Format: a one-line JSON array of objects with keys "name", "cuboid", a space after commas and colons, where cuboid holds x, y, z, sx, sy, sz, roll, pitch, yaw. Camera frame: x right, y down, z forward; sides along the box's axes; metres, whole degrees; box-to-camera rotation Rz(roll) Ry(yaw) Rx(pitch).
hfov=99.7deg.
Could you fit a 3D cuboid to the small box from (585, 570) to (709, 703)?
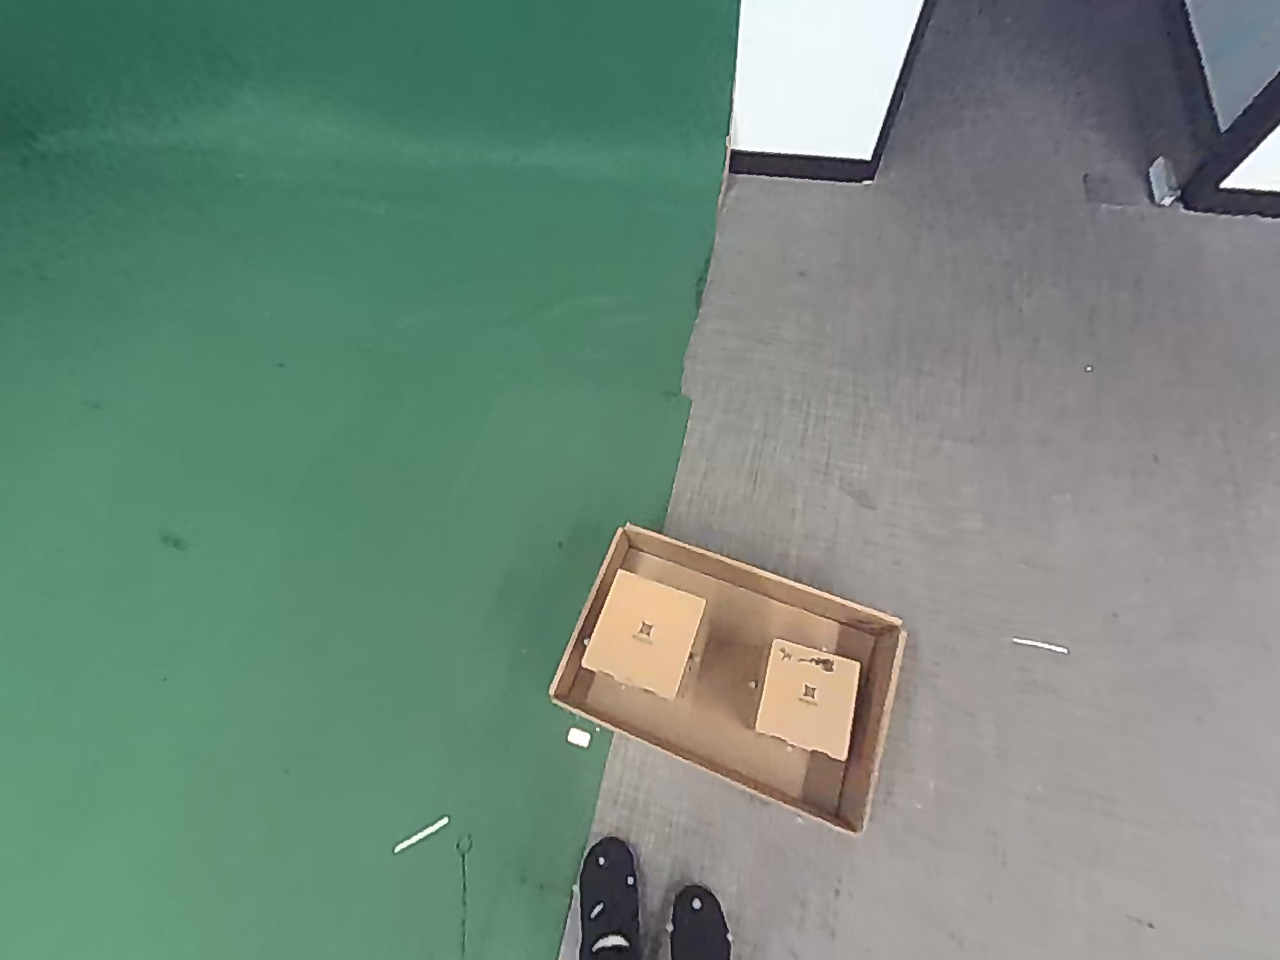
[{"name": "small box", "cuboid": [0.016, 0.288, 0.984, 0.168, 0.176, 0.179, 18, 71, 11]}]
